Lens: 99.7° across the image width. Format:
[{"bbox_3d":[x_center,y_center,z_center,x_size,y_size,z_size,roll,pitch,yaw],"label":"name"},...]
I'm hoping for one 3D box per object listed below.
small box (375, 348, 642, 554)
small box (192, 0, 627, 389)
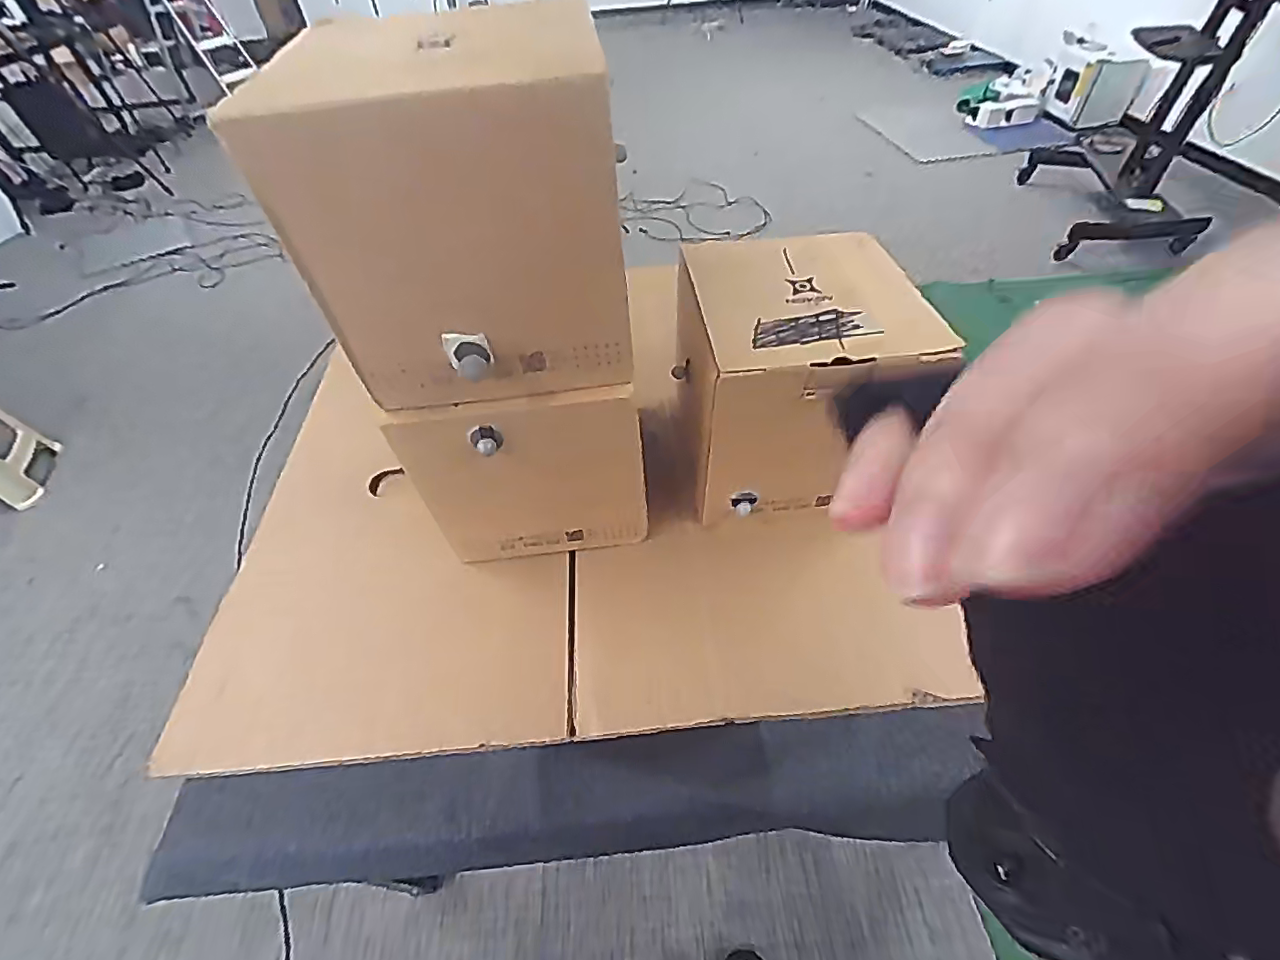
[{"bbox_3d":[-0.090,-0.060,0.460,0.168,0.176,0.179,-7,49,0],"label":"small box"},{"bbox_3d":[-0.103,-0.180,0.329,0.168,0.176,0.179,-9,52,-2],"label":"small box"}]
